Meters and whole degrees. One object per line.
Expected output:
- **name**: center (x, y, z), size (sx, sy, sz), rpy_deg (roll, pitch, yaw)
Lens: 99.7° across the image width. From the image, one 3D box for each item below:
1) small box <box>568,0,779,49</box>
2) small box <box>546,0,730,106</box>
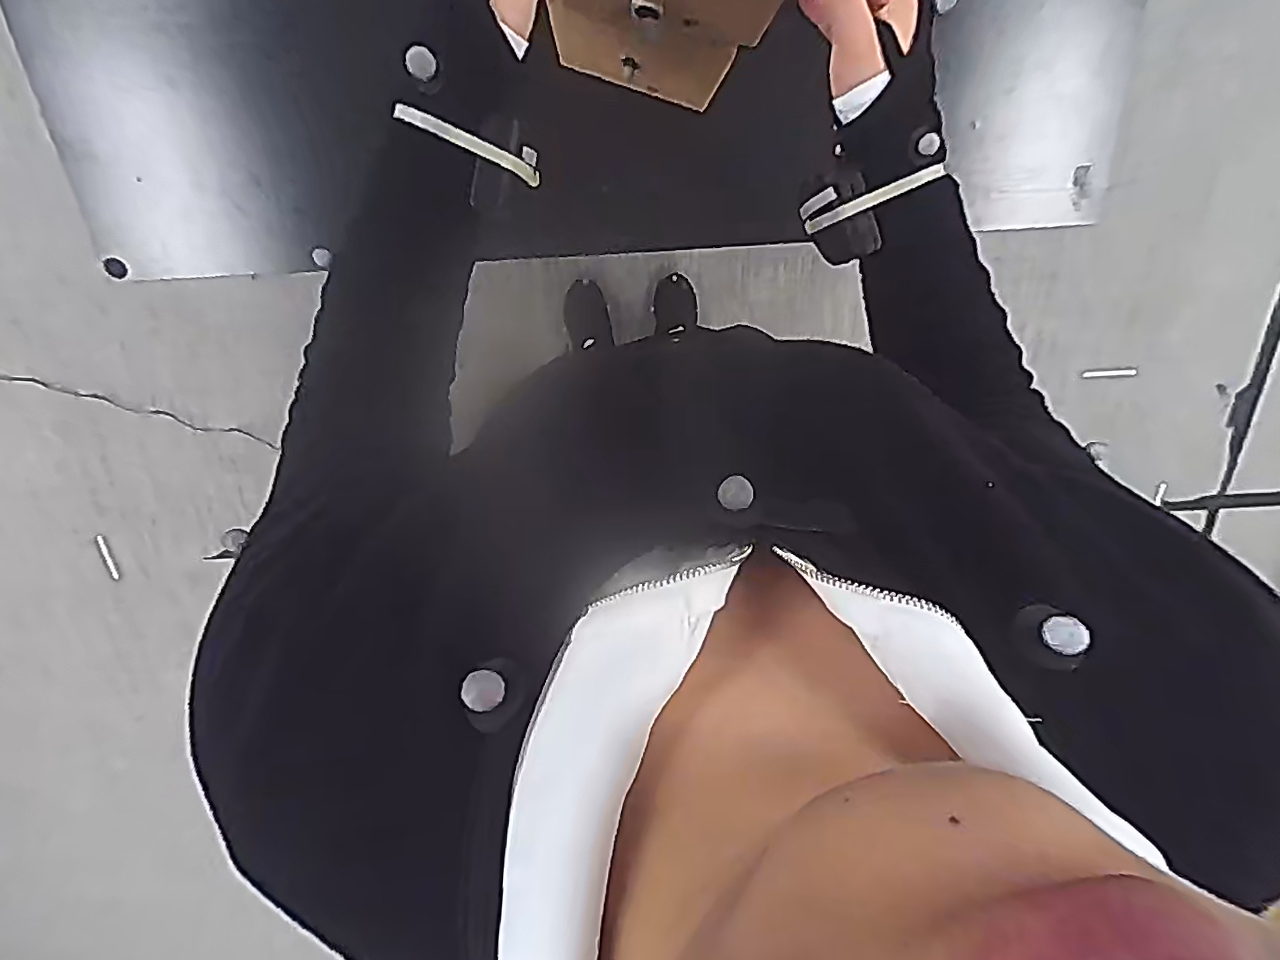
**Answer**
- **small box**: center (0.029, -0.429, 0.352), size (0.168, 0.176, 0.179), rpy_deg (5, 111, -4)
- **small box**: center (0.018, -0.488, 0.504), size (0.168, 0.176, 0.179), rpy_deg (13, 109, -8)
